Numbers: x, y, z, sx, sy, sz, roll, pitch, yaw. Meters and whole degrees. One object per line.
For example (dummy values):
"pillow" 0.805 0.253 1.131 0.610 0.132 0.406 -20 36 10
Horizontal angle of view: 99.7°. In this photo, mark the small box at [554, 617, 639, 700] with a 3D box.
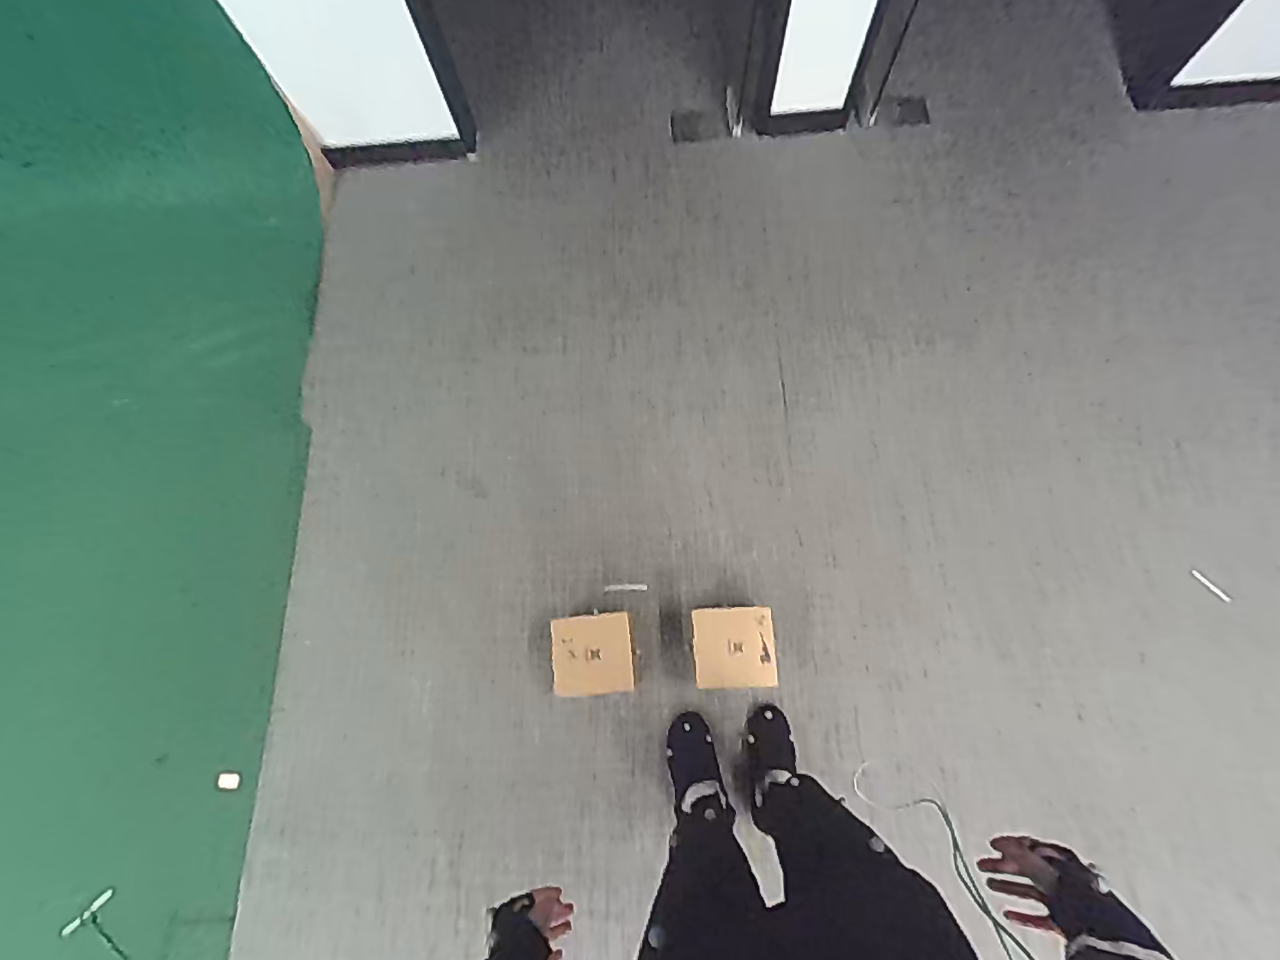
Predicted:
"small box" -0.095 0.410 1.254 0.179 0.176 0.168 -6 72 2
